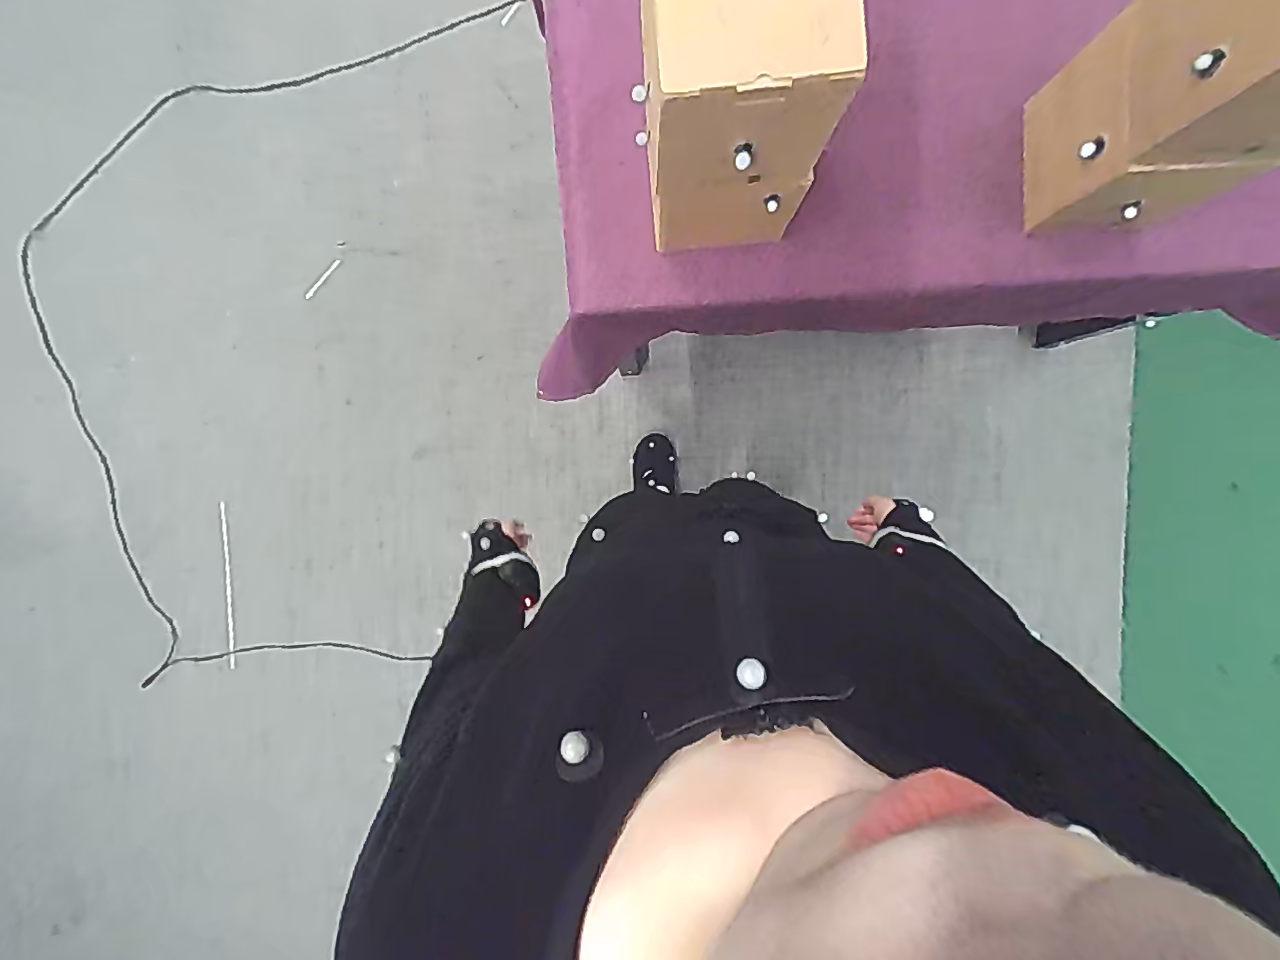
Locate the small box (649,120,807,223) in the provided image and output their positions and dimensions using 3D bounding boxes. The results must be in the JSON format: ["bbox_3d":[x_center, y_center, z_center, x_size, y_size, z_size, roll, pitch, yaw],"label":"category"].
[{"bbox_3d":[0.102,-0.443,0.683,0.179,0.176,0.168,-1,90,3],"label":"small box"}]

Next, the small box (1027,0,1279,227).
[{"bbox_3d":[0.604,-0.425,0.651,0.168,0.176,0.179,2,90,3],"label":"small box"}]

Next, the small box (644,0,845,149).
[{"bbox_3d":[0.089,-0.446,0.519,0.168,0.176,0.179,-1,91,2],"label":"small box"}]

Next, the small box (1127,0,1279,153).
[{"bbox_3d":[0.595,-0.428,0.488,0.168,0.176,0.179,4,90,3],"label":"small box"}]
